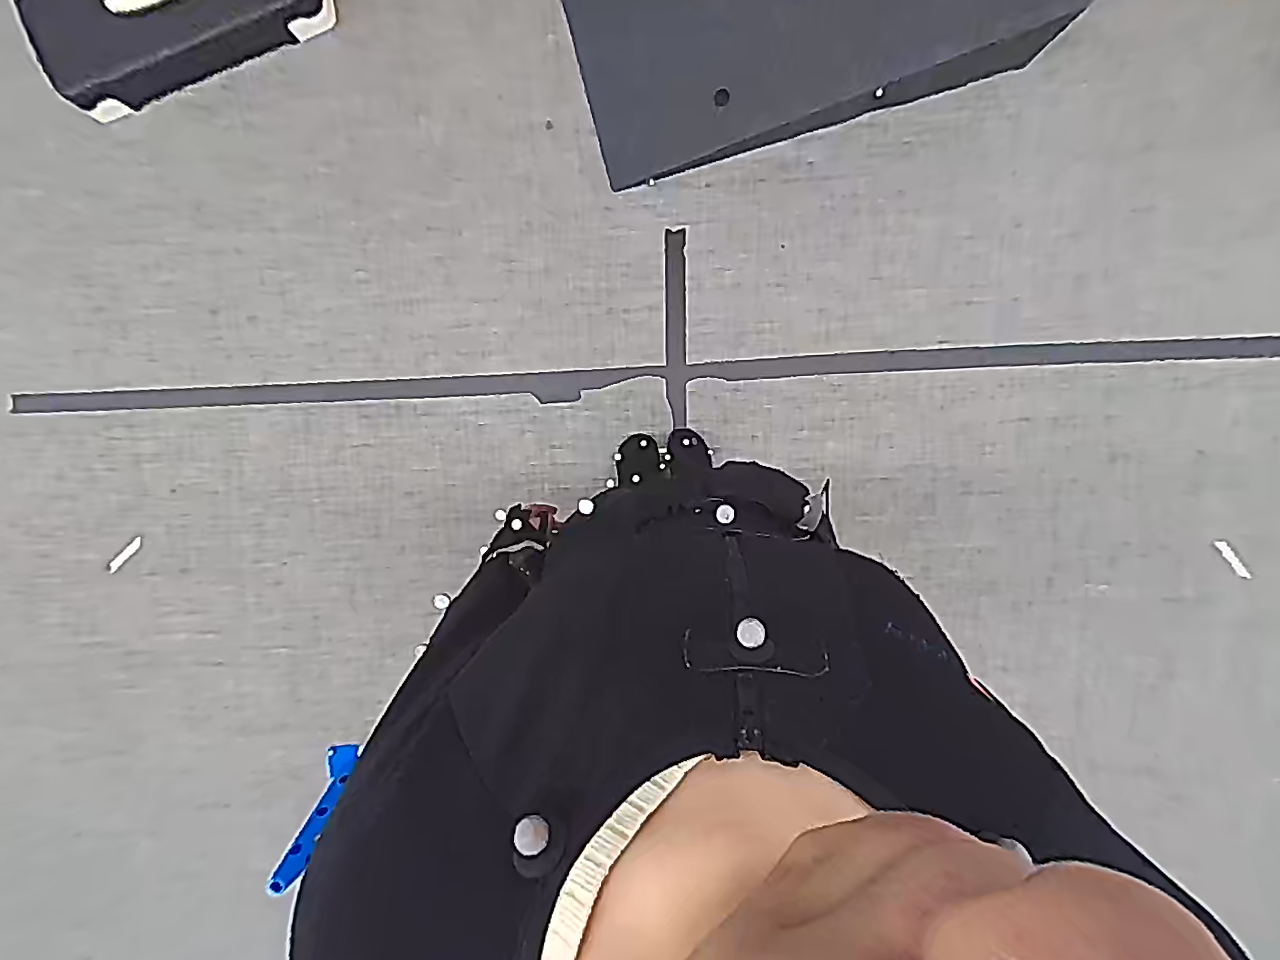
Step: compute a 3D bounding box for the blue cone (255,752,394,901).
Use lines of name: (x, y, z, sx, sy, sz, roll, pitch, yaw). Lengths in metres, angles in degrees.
blue cone: (-0.794, 0.870, 1.351, 0.192, 0.380, 0.193, -1, 97, 4)
